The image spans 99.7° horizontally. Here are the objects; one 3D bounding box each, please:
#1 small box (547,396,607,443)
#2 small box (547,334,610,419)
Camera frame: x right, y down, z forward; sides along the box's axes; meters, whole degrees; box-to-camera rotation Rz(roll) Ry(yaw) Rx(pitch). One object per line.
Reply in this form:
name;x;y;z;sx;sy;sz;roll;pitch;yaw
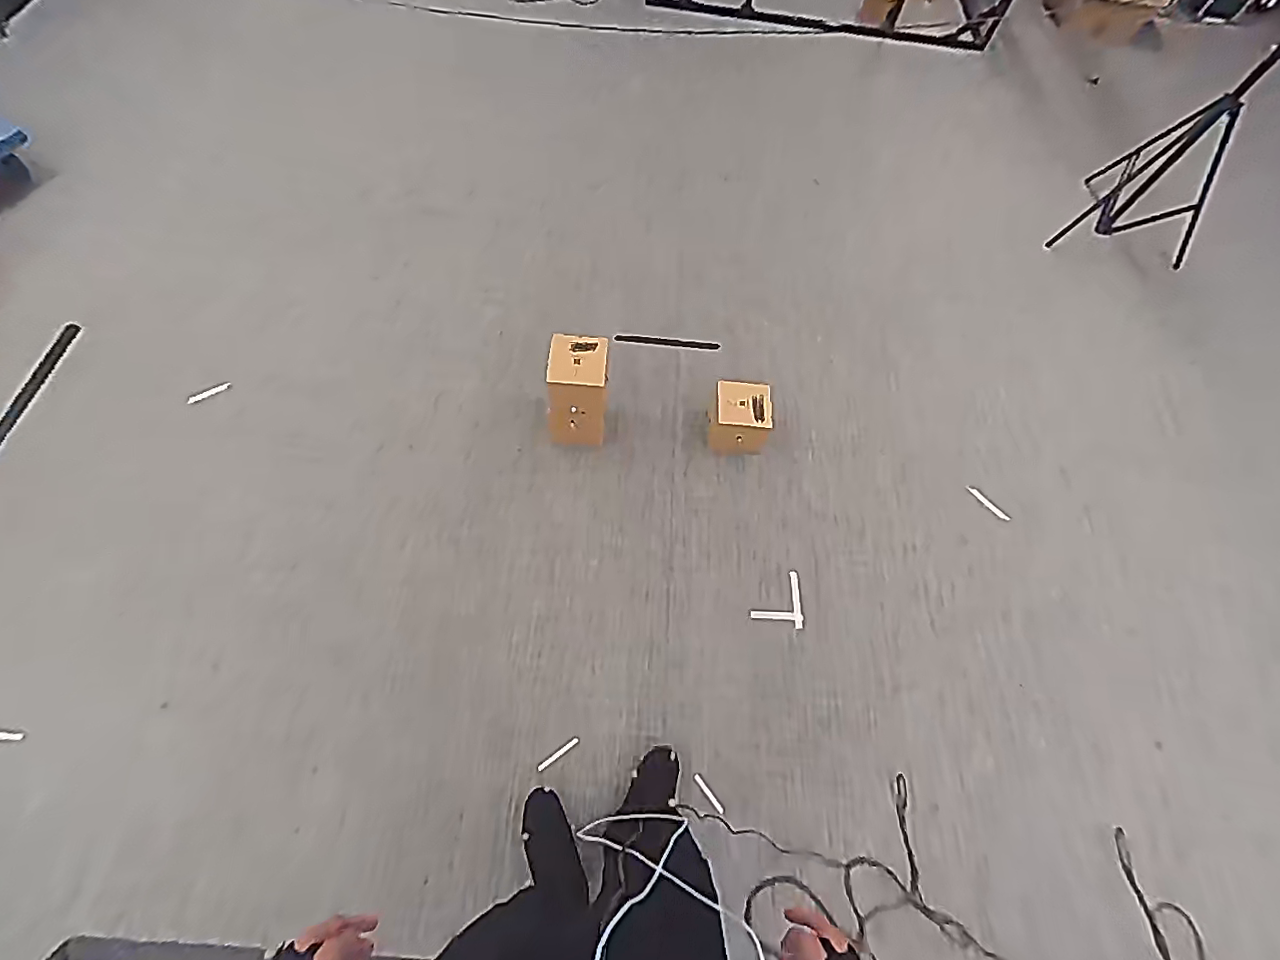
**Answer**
small box;-0.200;-0.233;1.760;0.179;0.176;0.168;4;64;-3
small box;-0.181;-0.306;1.615;0.168;0.176;0.179;5;65;-2
